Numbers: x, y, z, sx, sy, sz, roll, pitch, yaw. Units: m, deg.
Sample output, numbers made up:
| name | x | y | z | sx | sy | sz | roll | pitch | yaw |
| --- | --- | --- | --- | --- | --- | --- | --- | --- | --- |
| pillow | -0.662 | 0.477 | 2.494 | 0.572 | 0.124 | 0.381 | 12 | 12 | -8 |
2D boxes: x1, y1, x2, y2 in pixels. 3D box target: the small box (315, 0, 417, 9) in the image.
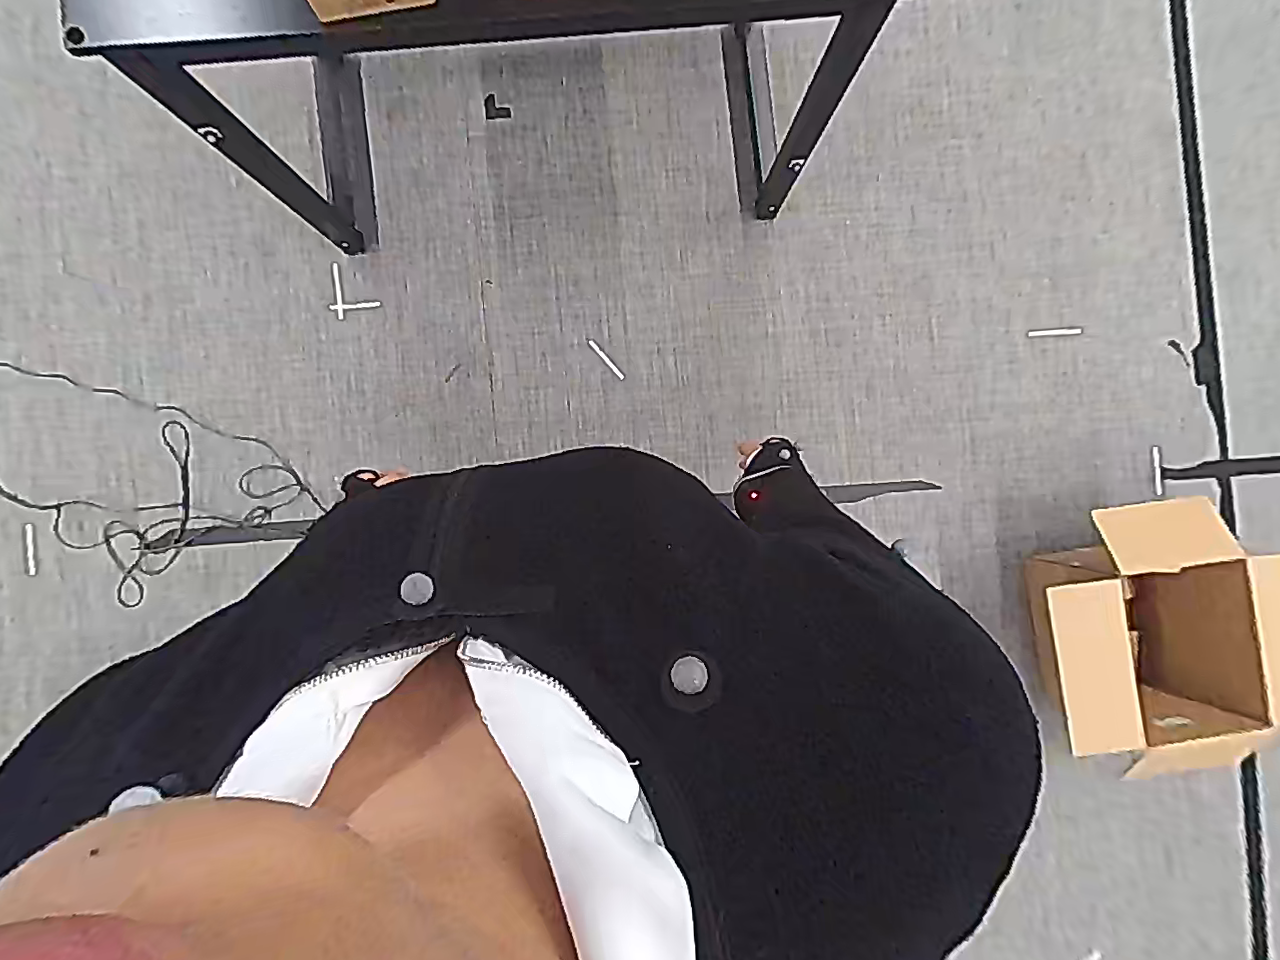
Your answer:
| name | x | y | z | sx | sy | sz | roll | pitch | yaw |
| --- | --- | --- | --- | --- | --- | --- | --- | --- | --- |
| small box | -0.384 | -0.742 | 0.677 | 0.168 | 0.176 | 0.179 | -12 | 90 | -2 |
